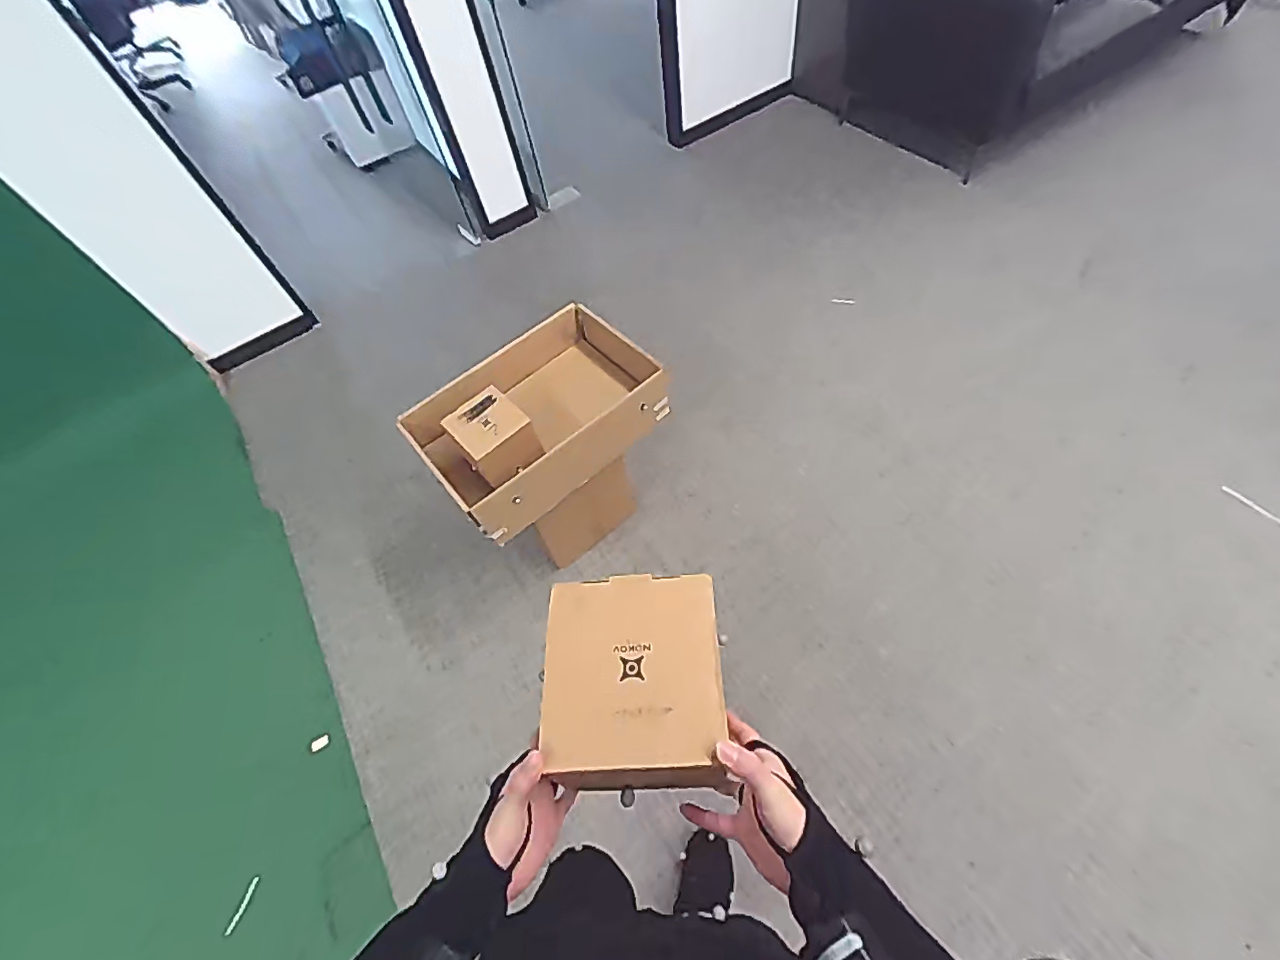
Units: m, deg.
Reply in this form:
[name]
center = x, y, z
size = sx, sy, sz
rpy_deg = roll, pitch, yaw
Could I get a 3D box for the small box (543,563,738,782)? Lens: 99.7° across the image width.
[small box]
center = 0.005, 0.203, 0.560
size = 0.168, 0.176, 0.179
rpy_deg = -3, 55, 4
